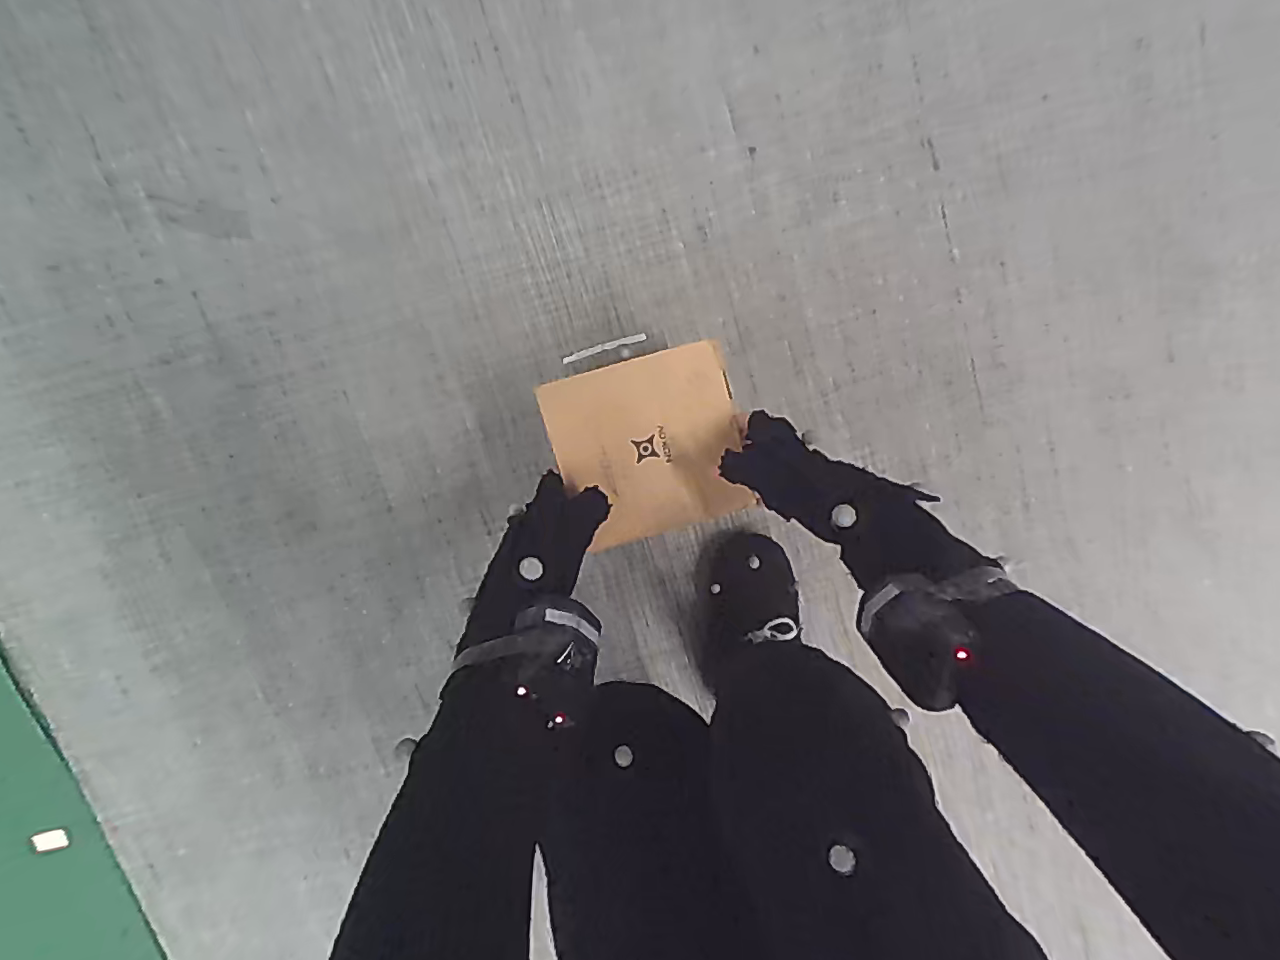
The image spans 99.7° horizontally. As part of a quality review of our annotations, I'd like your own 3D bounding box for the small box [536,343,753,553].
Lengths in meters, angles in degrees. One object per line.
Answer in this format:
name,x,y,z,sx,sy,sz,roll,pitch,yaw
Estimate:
small box,0.003,-0.041,0.592,0.179,0.176,0.168,-17,98,1
